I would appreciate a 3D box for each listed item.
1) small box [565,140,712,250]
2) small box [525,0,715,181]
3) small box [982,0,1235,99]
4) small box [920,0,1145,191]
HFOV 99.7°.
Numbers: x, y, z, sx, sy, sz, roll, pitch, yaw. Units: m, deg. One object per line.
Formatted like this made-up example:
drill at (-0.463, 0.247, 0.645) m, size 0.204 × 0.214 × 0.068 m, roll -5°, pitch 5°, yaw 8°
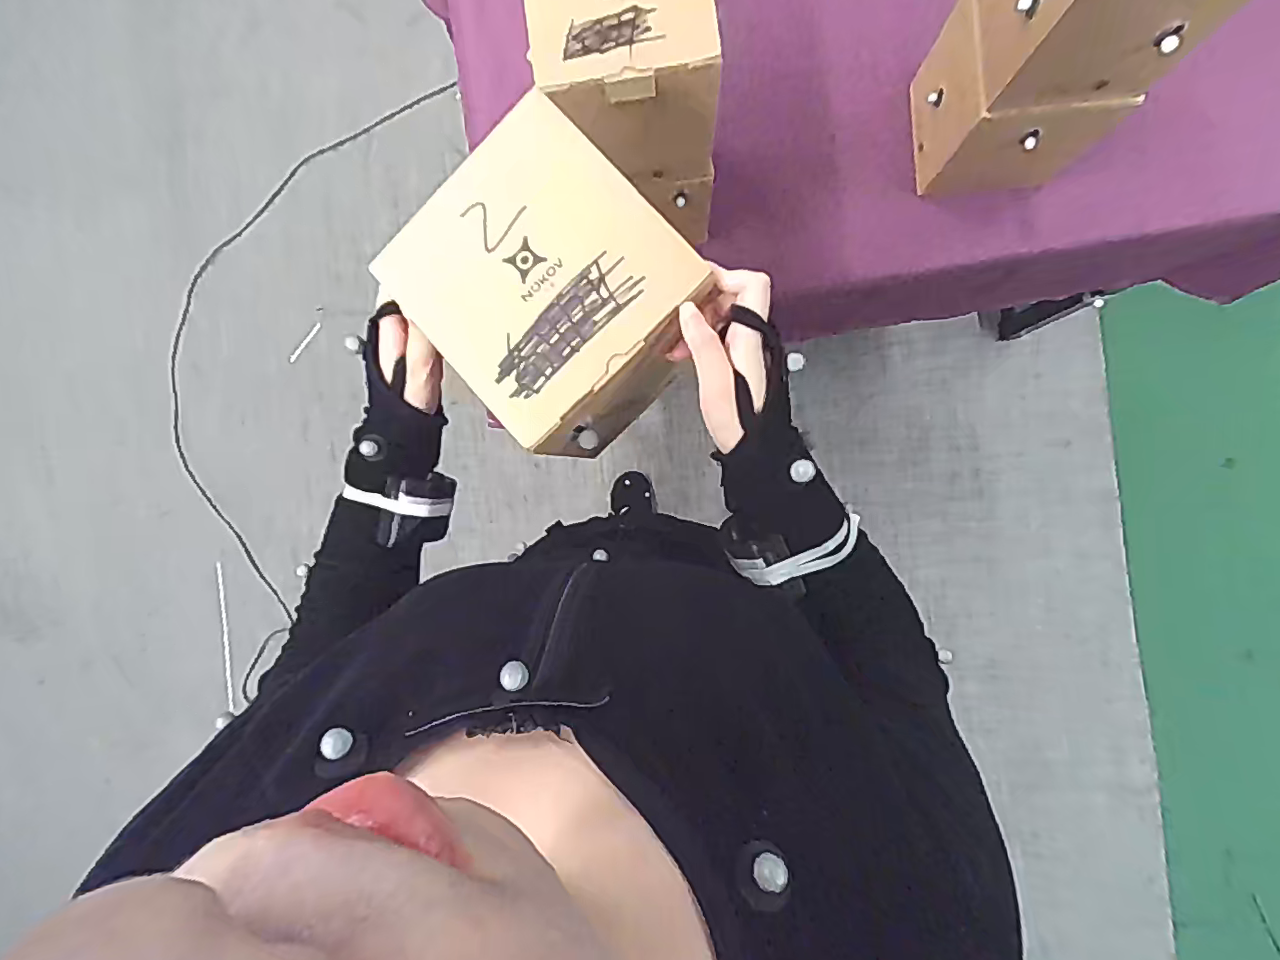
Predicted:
small box at (-0.002, -0.427, 0.719) m, size 0.179 × 0.176 × 0.168 m, roll -6°, pitch 88°, yaw 4°
small box at (-0.016, -0.436, 0.555) m, size 0.168 × 0.176 × 0.179 m, roll -7°, pitch 86°, yaw 4°
small box at (0.456, -0.502, 0.518) m, size 0.168 × 0.176 × 0.179 m, roll -2°, pitch 87°, yaw 4°
small box at (0.470, -0.488, 0.680) m, size 0.179 × 0.176 × 0.168 m, roll -2°, pitch 89°, yaw 5°
